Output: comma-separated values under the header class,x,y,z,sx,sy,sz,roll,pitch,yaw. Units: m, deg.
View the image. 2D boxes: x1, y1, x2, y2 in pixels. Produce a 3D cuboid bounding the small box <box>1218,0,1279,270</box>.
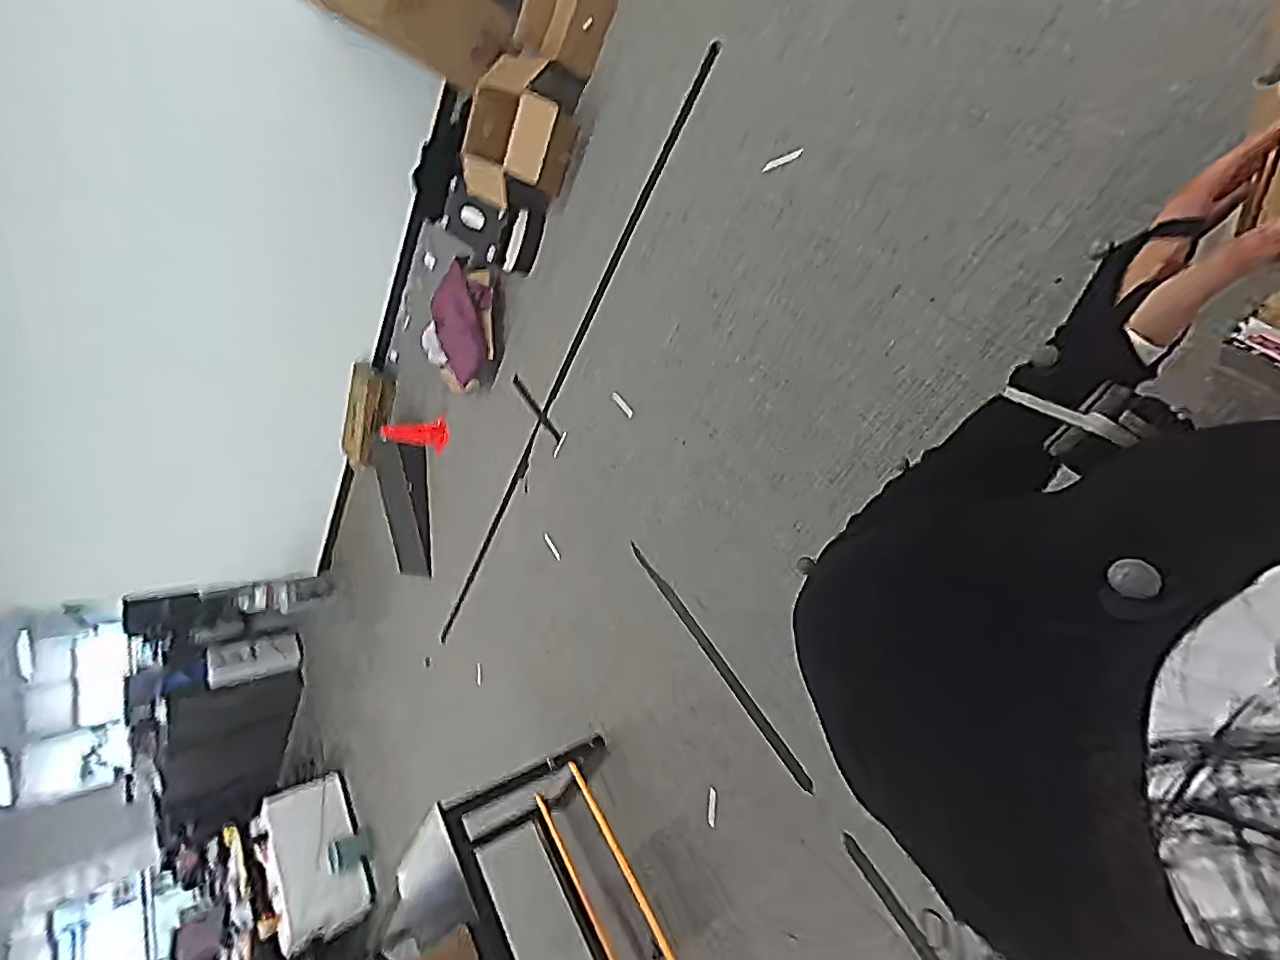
class,x,y,z,sx,sy,sz,roll,pitch,yaw
small box,0.457,-0.222,0.295,0.168,0.176,0.179,10,108,40
